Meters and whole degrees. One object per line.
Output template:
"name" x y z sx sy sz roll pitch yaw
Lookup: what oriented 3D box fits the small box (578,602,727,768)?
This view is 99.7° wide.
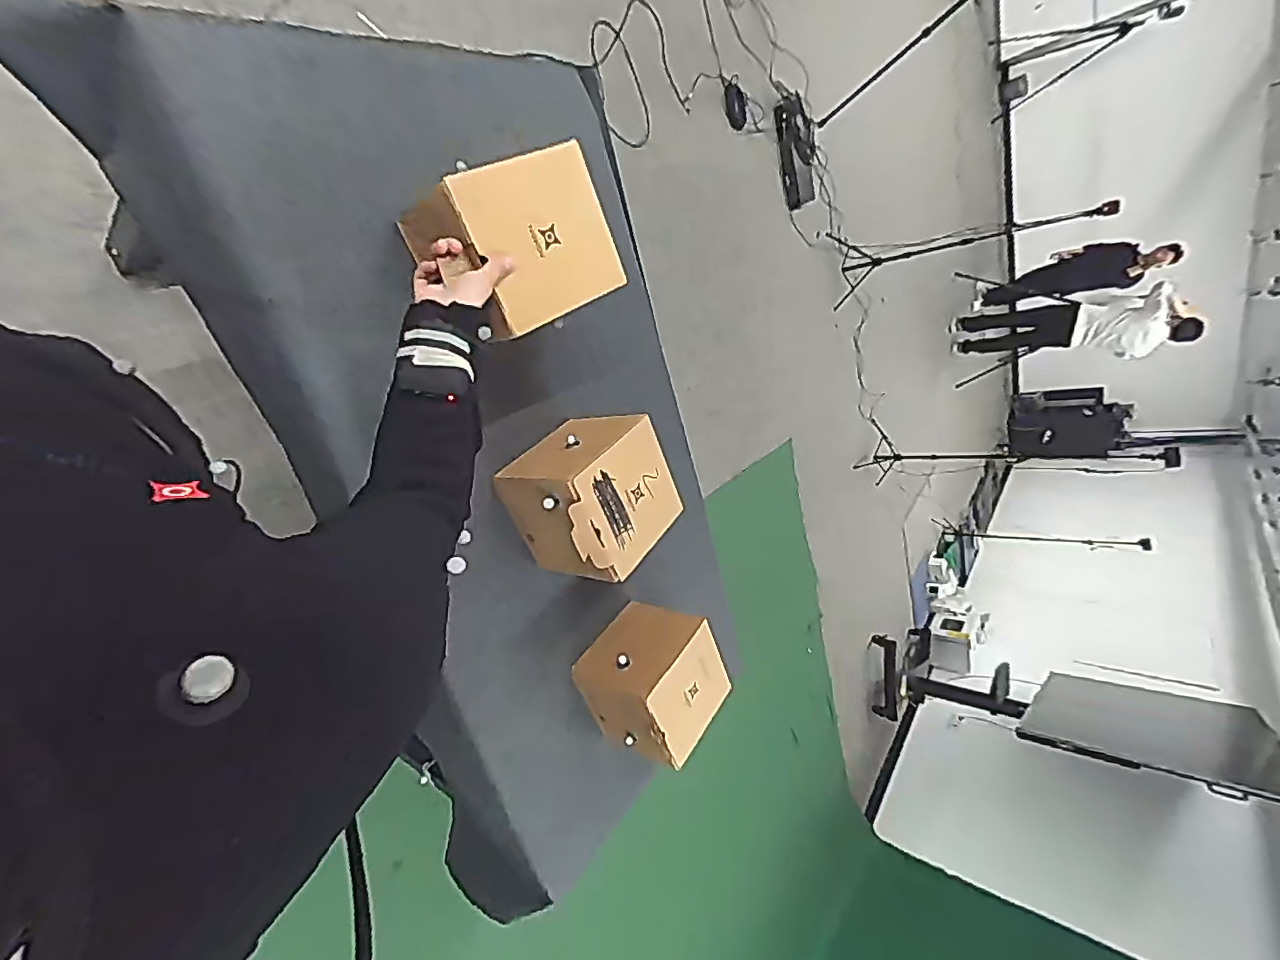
"small box" 0.017 0.331 0.907 0.179 0.176 0.168 -43 124 -40

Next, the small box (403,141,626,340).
"small box" -0.152 -0.281 0.659 0.179 0.176 0.168 -37 120 -28
